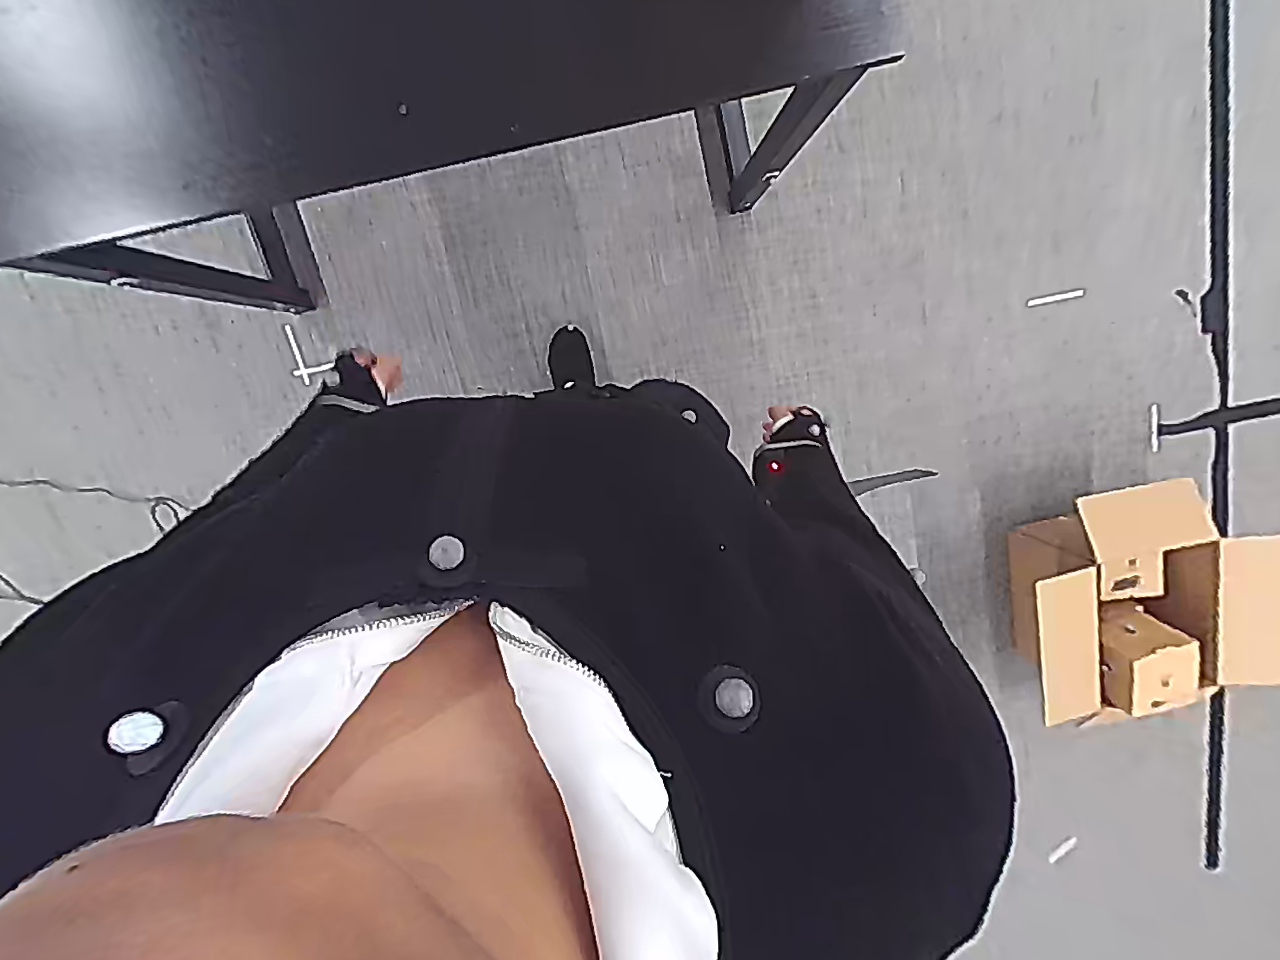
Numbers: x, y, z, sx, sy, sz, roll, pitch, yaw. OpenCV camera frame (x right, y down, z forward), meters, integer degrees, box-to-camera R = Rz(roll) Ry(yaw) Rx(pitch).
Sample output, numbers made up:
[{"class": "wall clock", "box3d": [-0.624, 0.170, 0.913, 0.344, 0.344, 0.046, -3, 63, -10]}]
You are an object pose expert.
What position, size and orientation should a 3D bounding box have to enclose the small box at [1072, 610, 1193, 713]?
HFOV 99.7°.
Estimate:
[{"class": "small box", "box3d": [1.253, 0.453, 1.386, 0.168, 0.176, 0.179, -15, 106, 0]}]
